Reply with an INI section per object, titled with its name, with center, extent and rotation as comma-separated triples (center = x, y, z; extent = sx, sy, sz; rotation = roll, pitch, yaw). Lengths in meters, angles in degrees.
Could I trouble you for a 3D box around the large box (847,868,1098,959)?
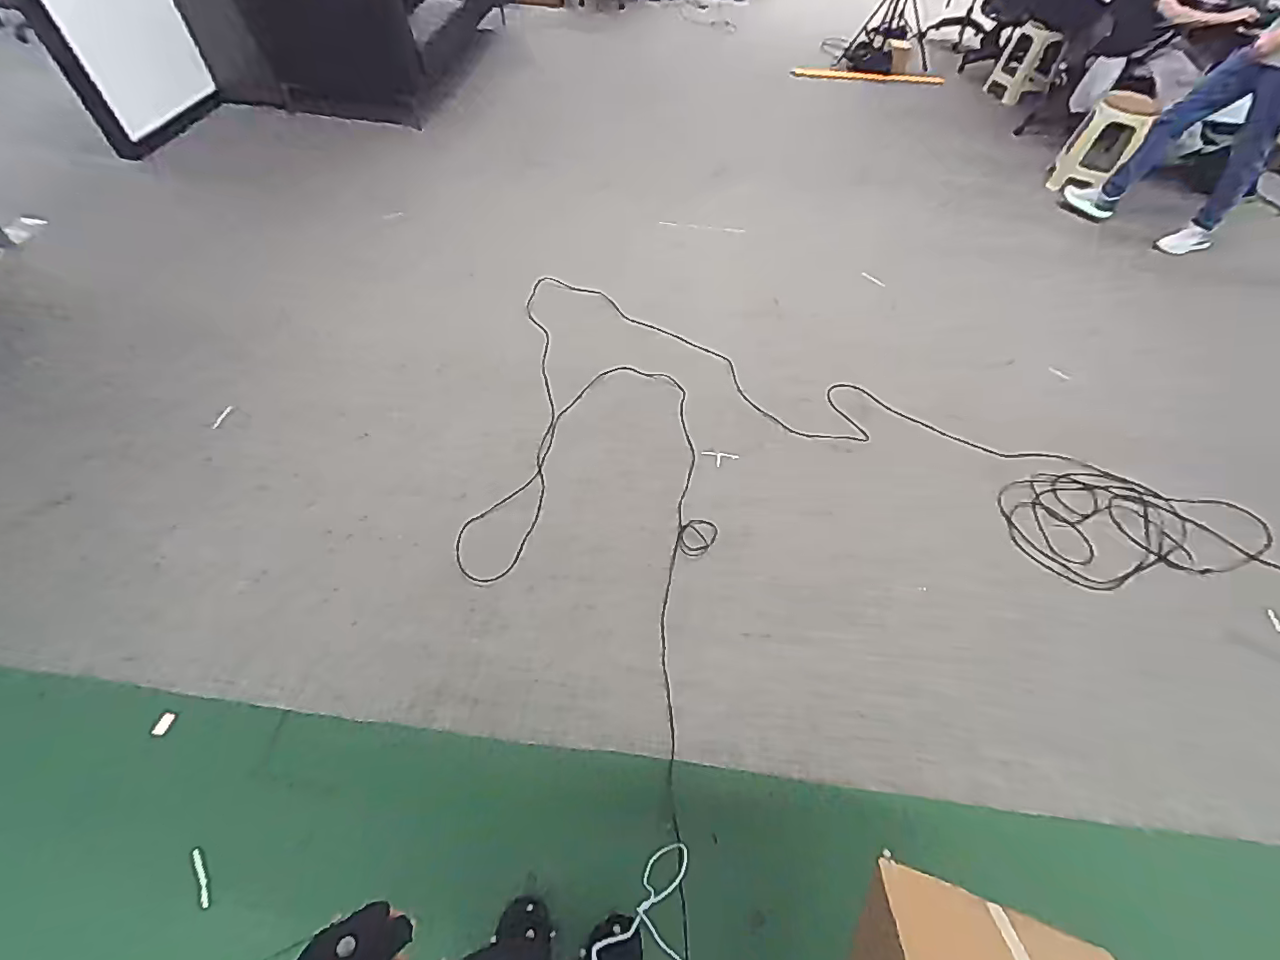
[large box]
center = 0.411, 0.768, 0.599
extent = 0.320, 0.408, 0.320
rotation = 17, 93, 13
